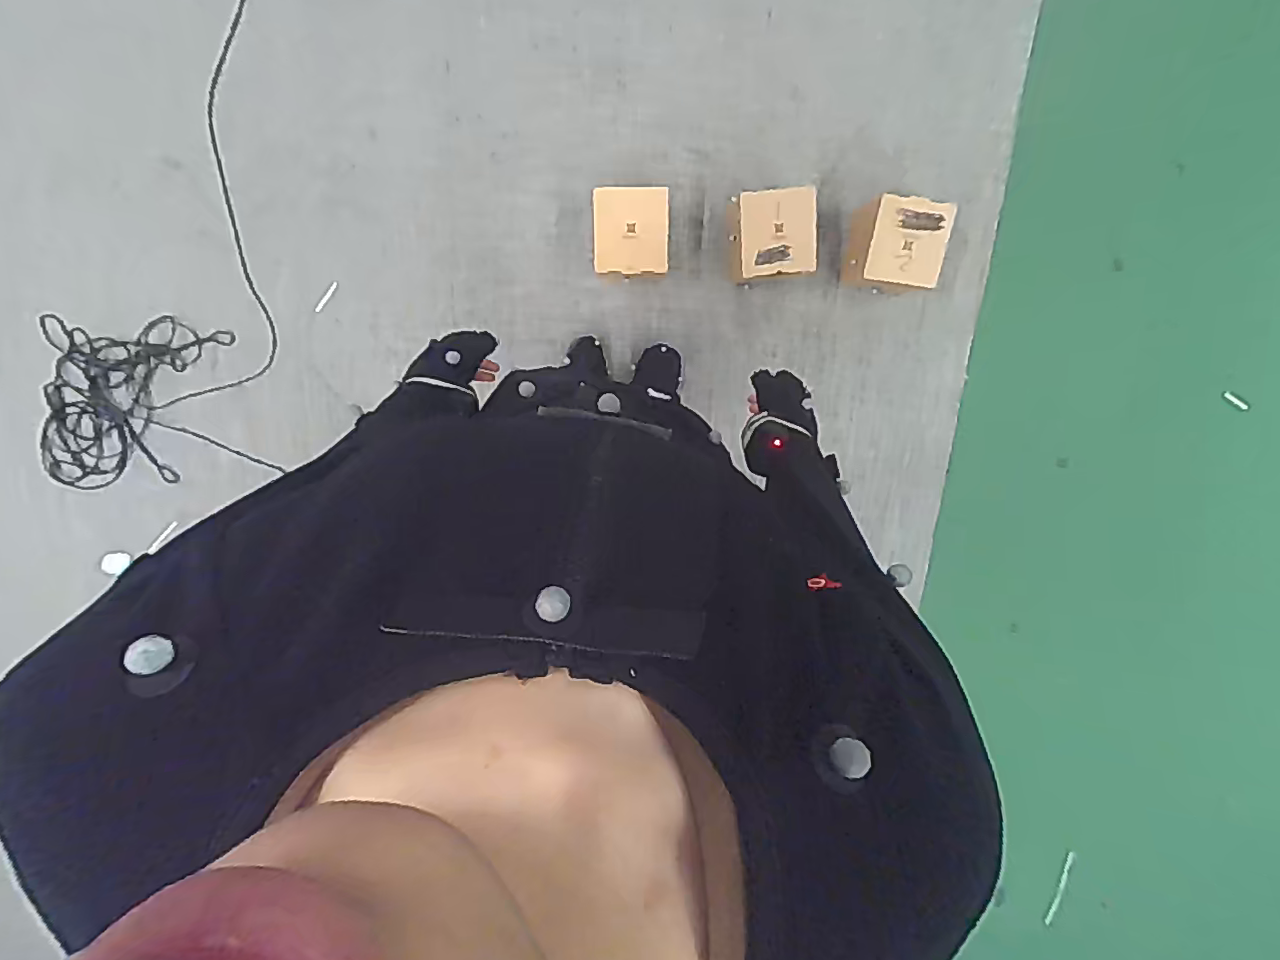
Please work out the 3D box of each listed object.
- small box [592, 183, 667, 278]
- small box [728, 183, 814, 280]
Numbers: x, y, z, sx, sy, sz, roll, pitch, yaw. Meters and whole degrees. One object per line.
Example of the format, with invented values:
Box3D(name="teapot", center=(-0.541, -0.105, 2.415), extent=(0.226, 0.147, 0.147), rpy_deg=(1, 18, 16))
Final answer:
Box3D(name="small box", center=(-0.022, -0.571, 1.255), extent=(0.168, 0.176, 0.179), rpy_deg=(0, 105, 2))
Box3D(name="small box", center=(0.296, -0.562, 1.247), extent=(0.168, 0.176, 0.179), rpy_deg=(-4, 104, 2))
